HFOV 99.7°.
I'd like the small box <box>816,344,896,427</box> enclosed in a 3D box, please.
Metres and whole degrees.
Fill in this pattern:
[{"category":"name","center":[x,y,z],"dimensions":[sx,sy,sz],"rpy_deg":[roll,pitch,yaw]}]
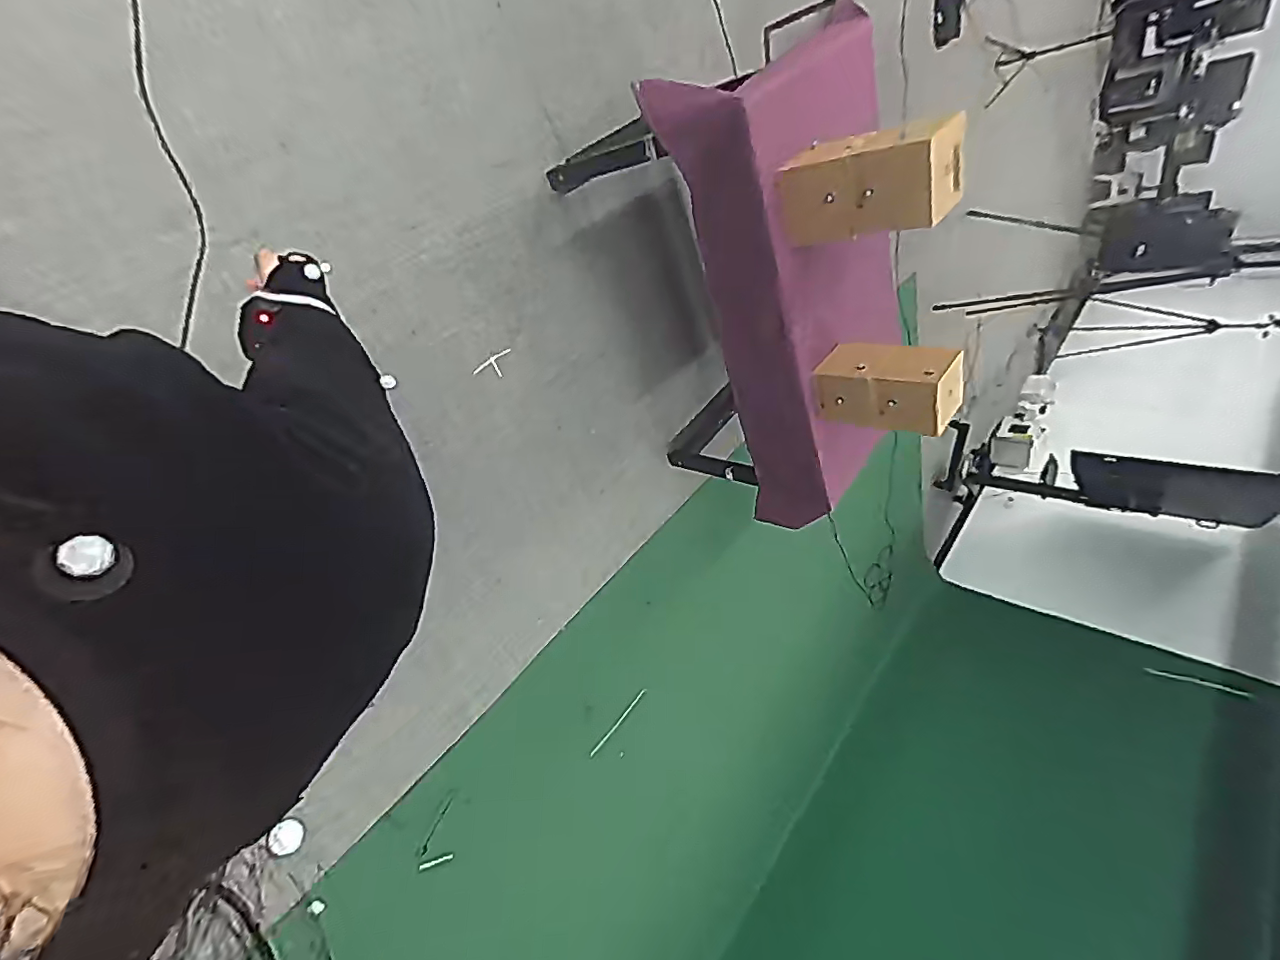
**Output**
[{"category":"small box","center":[0.617,-0.275,1.547],"dimensions":[0.179,0.176,0.168],"rpy_deg":[-44,130,-27]}]

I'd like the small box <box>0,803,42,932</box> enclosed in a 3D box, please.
[{"category":"small box","center":[-1.017,0.585,0.763],"dimensions":[0.179,0.176,0.168],"rpy_deg":[-41,127,-27]}]

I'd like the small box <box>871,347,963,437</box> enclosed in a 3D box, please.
[{"category":"small box","center":[0.737,-0.242,1.441],"dimensions":[0.179,0.176,0.168],"rpy_deg":[-43,129,-26]}]

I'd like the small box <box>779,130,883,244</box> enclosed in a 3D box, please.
[{"category":"small box","center":[0.440,-0.669,1.251],"dimensions":[0.168,0.176,0.179],"rpy_deg":[-45,131,-27]}]
